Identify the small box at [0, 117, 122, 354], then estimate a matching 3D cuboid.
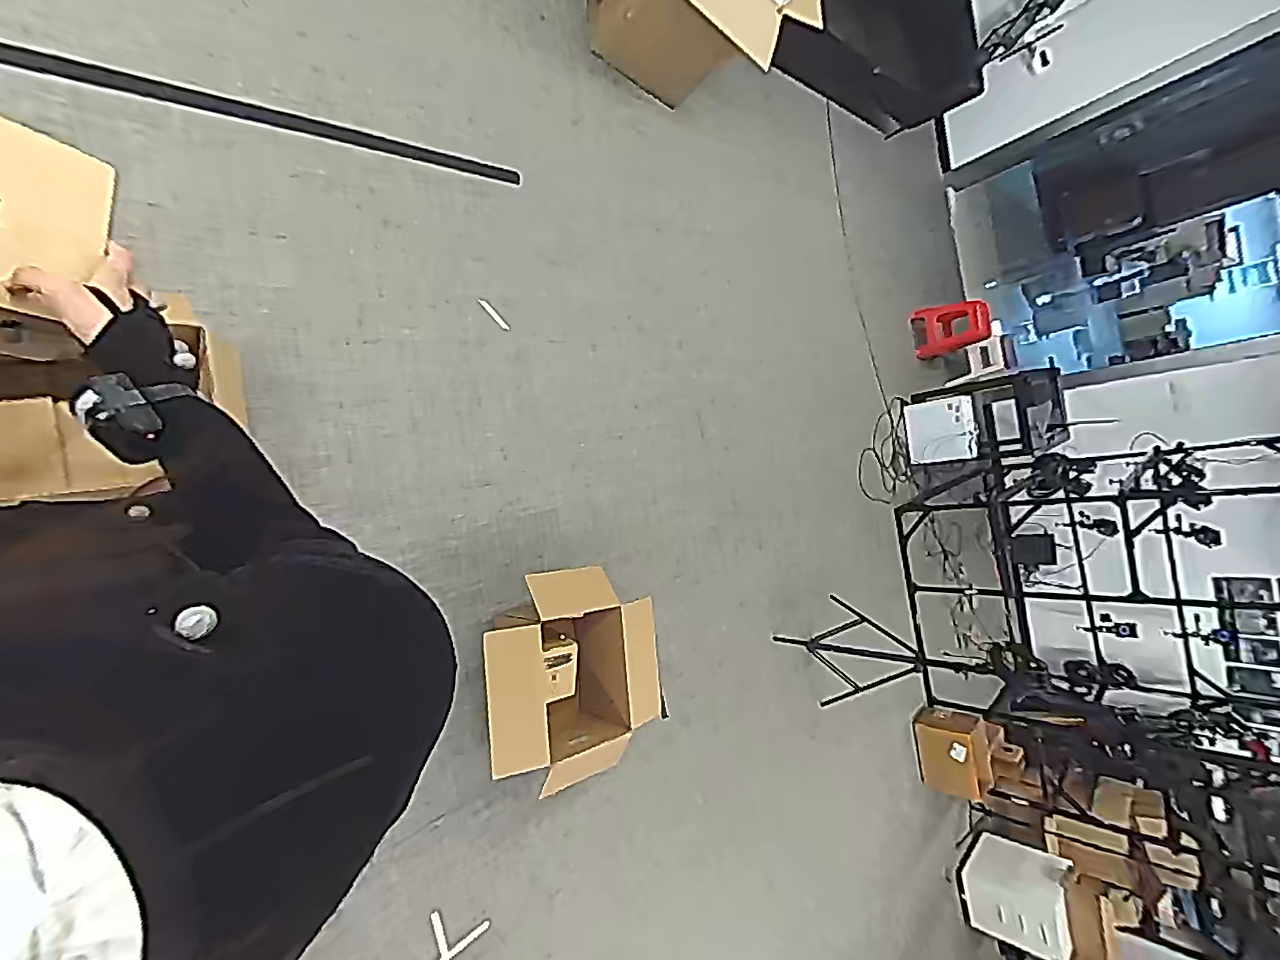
[{"bbox_3d":[-0.610,-0.220,0.476,0.179,0.176,0.168,11,78,-58],"label":"small box"}]
